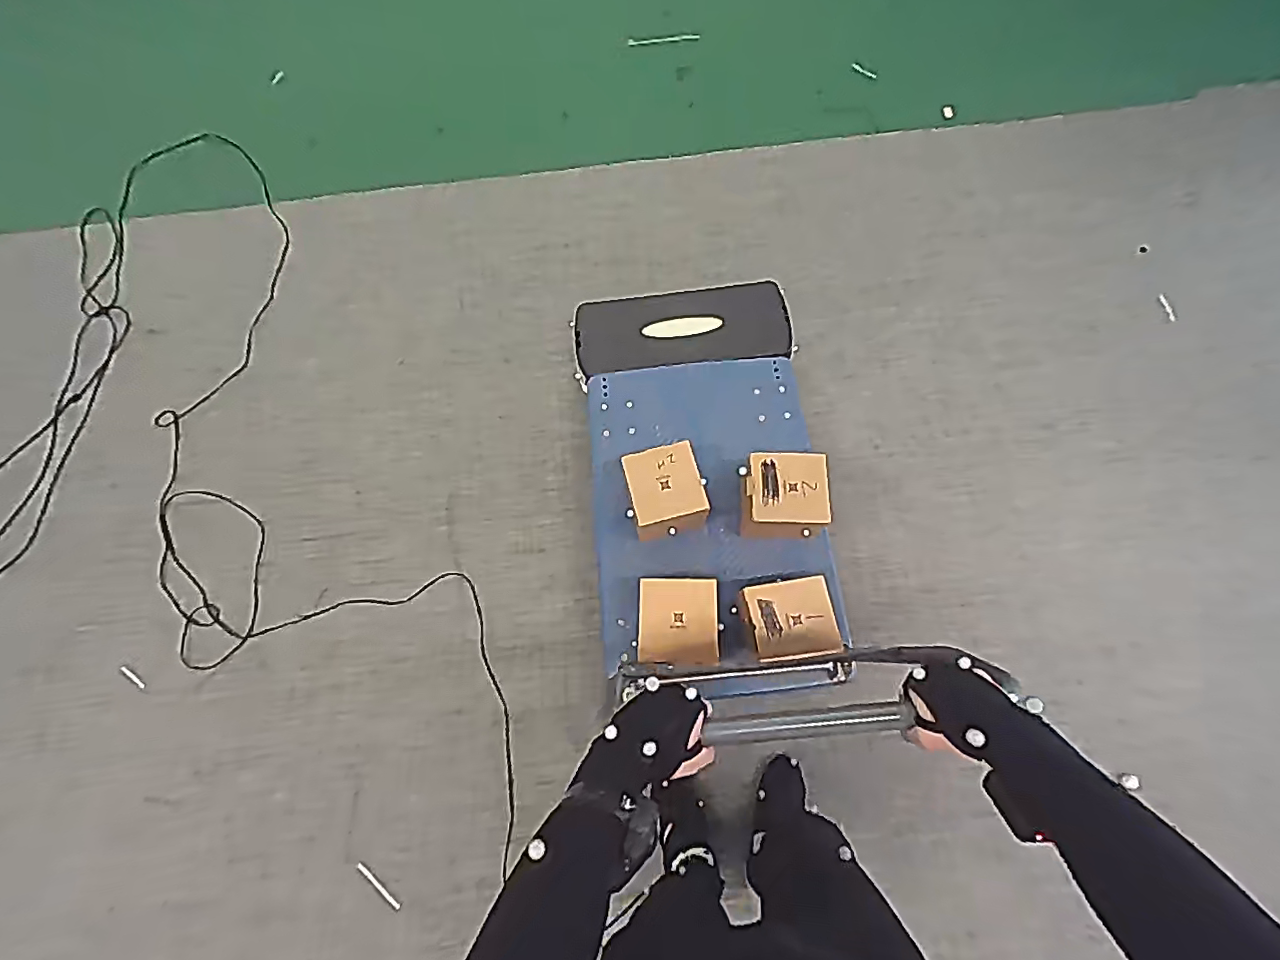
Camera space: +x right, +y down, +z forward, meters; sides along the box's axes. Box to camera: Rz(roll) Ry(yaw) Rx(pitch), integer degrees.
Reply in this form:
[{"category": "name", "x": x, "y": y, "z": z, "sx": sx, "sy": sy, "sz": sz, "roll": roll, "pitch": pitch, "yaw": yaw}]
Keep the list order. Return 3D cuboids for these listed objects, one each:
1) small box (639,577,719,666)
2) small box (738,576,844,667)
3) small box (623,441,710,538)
[{"category": "small box", "x": 0.084, "y": 0.318, "z": 1.203, "sx": 0.168, "sy": 0.176, "sz": 0.179, "roll": 1, "pitch": 72, "yaw": 1}, {"category": "small box", "x": 0.320, "y": 0.317, "z": 1.194, "sx": 0.179, "sy": 0.176, "sz": 0.168, "roll": -9, "pitch": 71, "yaw": -2}, {"category": "small box", "x": 0.061, "y": 0.032, "z": 1.304, "sx": 0.168, "sy": 0.176, "sz": 0.179, "roll": -14, "pitch": 70, "yaw": -4}]
